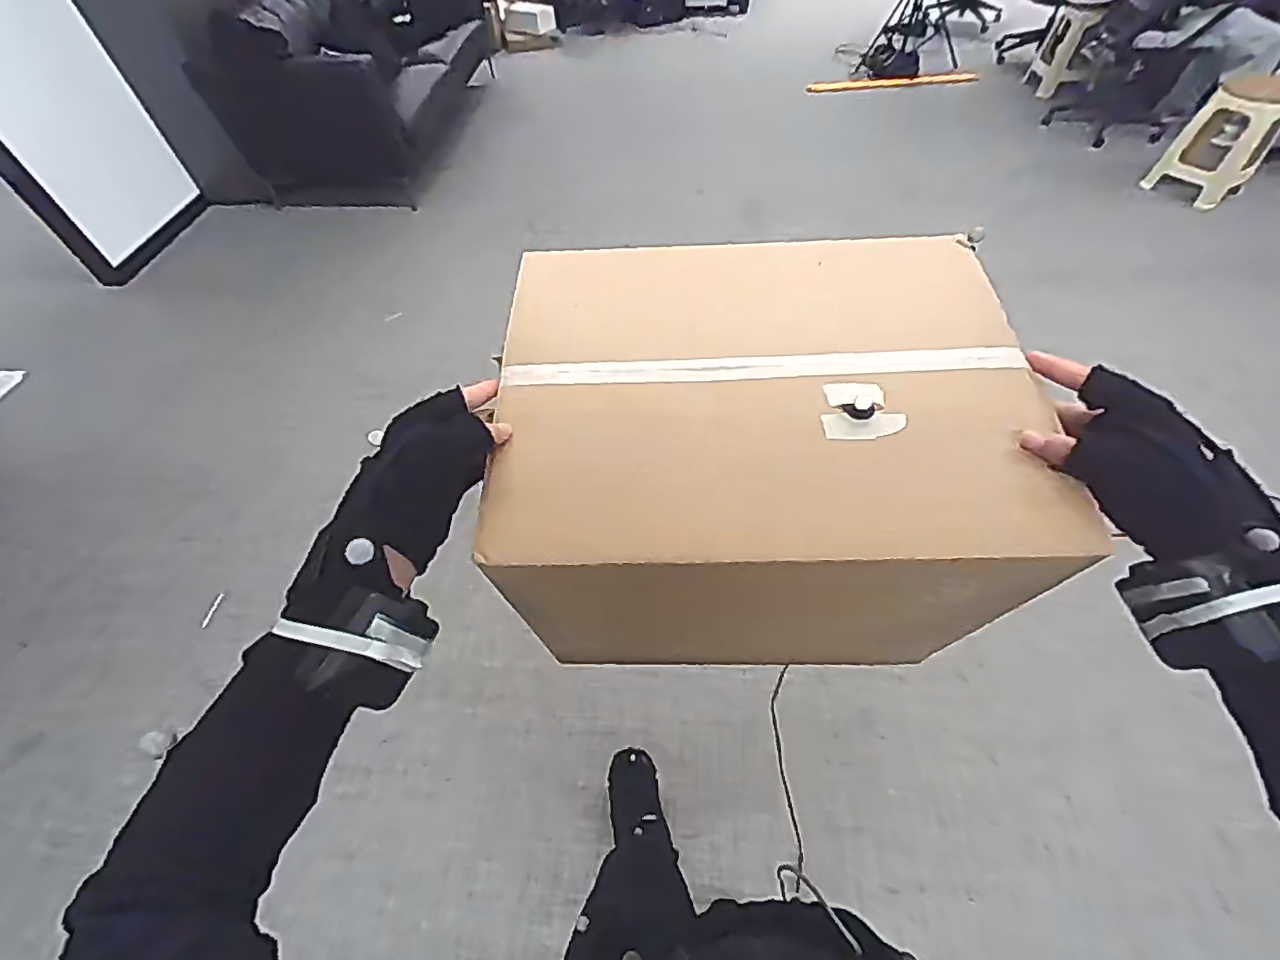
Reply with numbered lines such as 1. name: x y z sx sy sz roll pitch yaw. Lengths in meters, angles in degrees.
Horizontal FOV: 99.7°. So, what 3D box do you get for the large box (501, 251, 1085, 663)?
1. large box: 0.102 -0.004 0.566 0.408 0.320 0.320 -1 60 2
